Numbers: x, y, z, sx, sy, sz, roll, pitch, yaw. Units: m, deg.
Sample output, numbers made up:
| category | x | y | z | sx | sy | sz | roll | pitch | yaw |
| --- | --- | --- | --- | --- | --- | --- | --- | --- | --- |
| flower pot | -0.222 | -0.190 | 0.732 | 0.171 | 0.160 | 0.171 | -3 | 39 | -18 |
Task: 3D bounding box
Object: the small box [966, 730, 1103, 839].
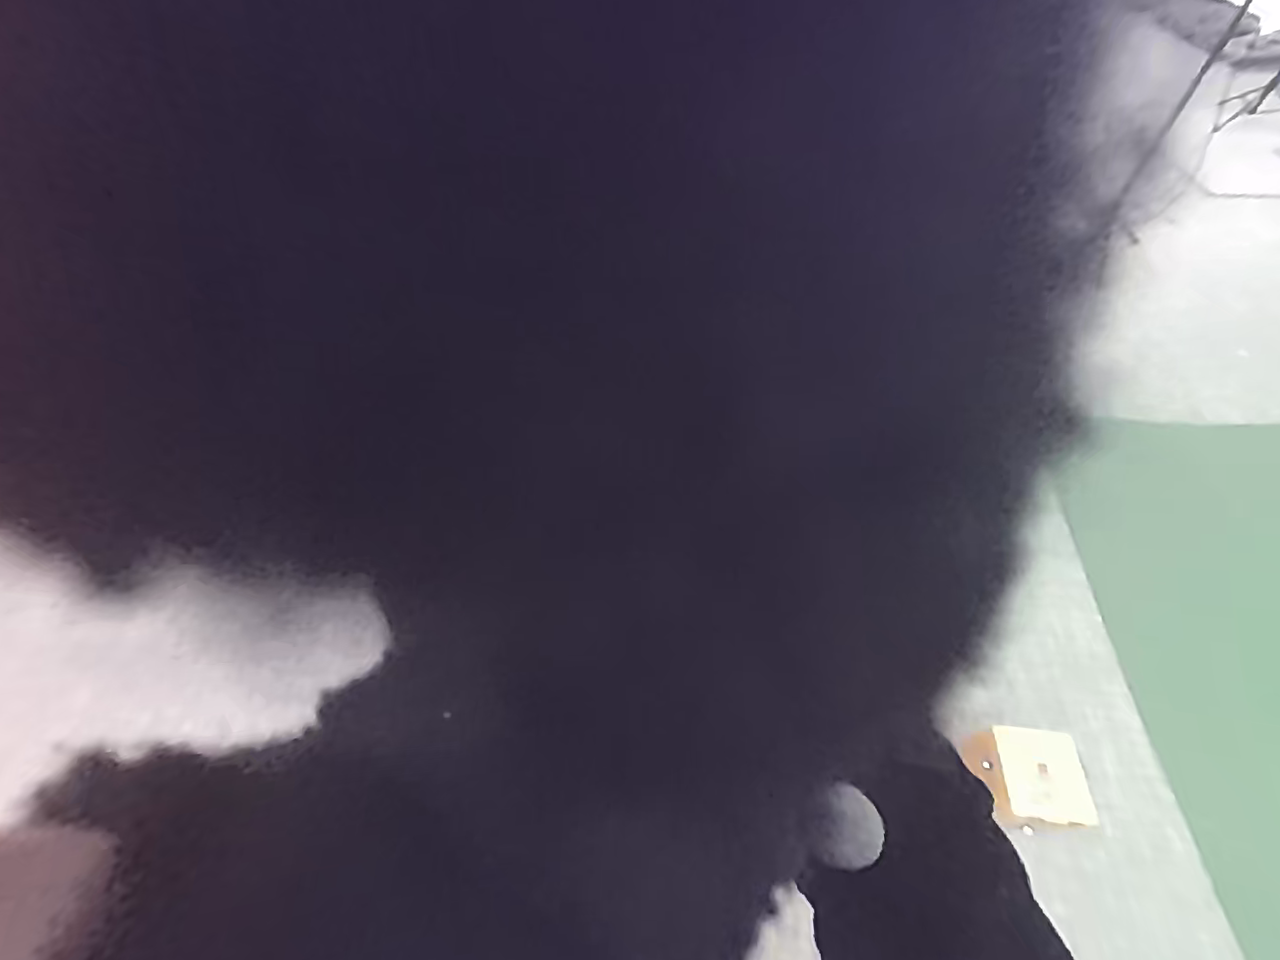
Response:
| category | x | y | z | sx | sy | sz | roll | pitch | yaw |
| --- | --- | --- | --- | --- | --- | --- | --- | --- | --- |
| small box | 0.853 | 0.674 | 1.194 | 0.168 | 0.176 | 0.179 | 4 | 54 | 7 |
